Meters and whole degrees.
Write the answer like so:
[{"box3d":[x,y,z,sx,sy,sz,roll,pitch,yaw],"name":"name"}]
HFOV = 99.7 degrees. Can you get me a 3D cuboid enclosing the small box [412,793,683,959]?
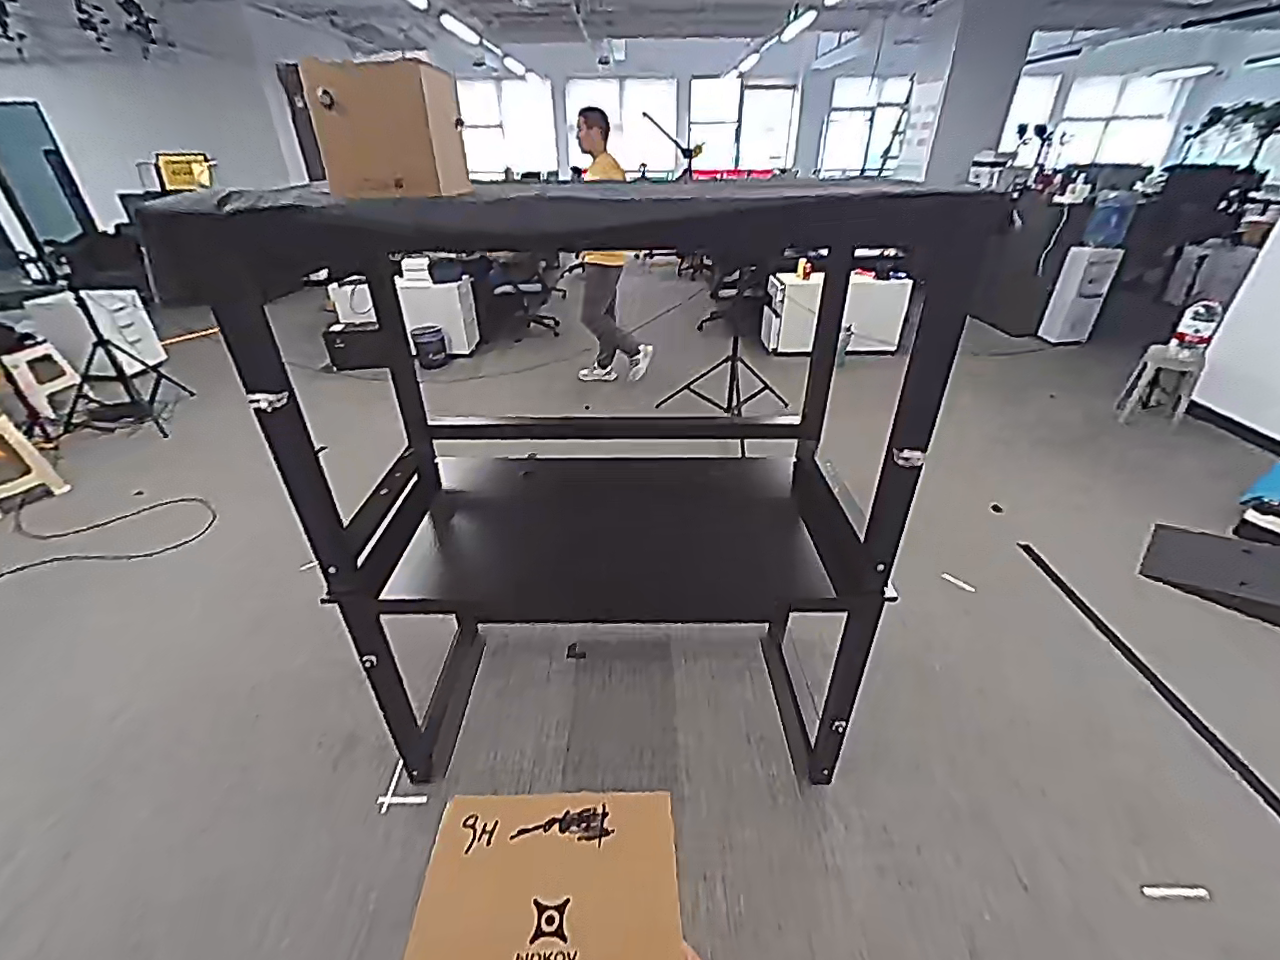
[{"box3d":[-0.057,0.350,0.372,0.168,0.176,0.179,1,31,-4],"name":"small box"}]
